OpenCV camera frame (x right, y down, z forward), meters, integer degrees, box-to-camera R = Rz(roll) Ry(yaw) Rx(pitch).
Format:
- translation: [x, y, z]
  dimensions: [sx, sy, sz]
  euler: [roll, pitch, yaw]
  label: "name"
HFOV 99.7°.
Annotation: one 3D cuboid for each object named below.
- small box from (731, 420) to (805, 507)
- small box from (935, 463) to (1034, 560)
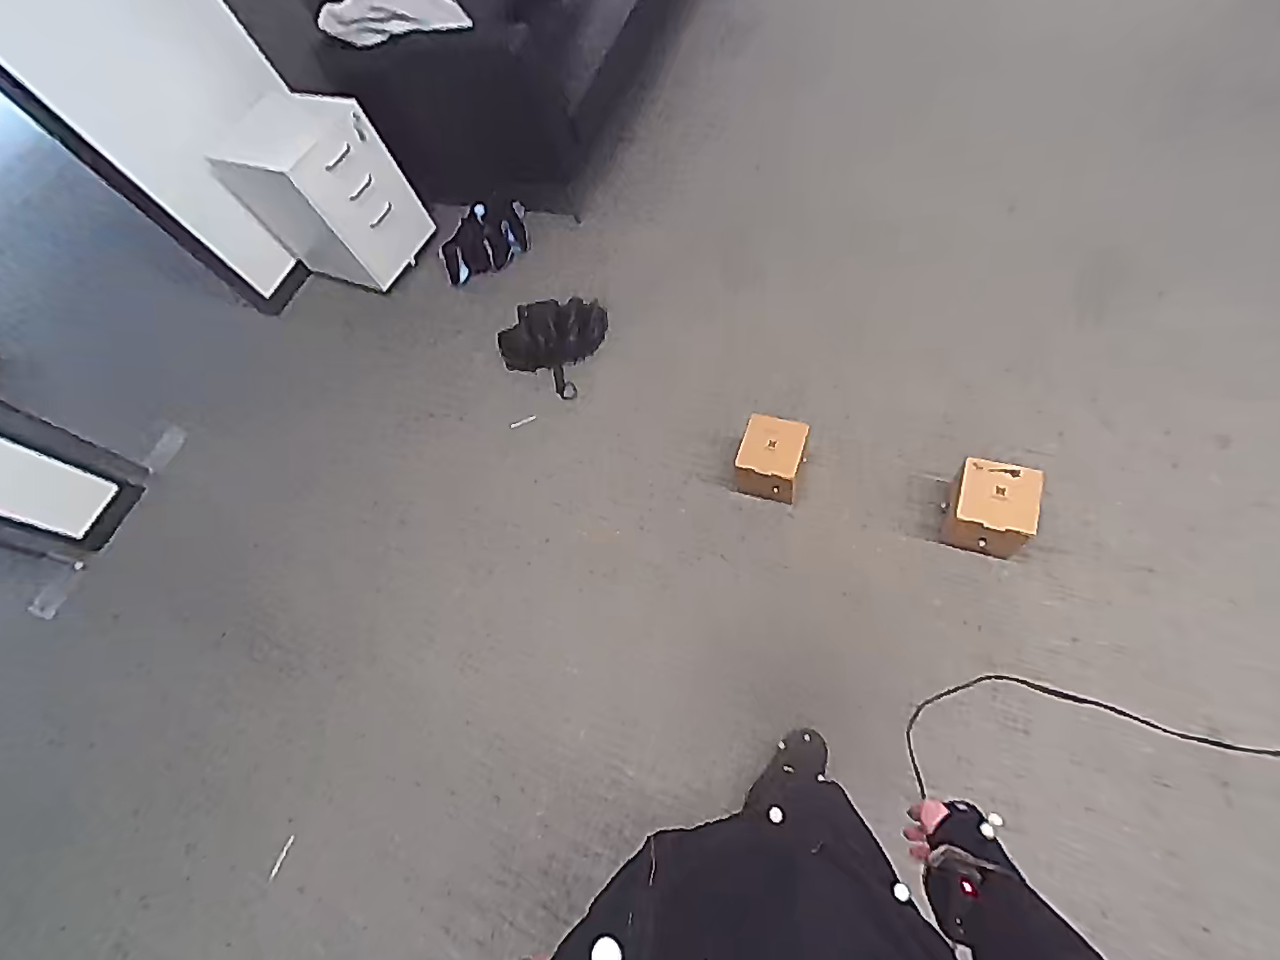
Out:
- translation: [0.373, -0.044, 1.568]
  dimensions: [0.168, 0.176, 0.179]
  euler: [14, 66, 19]
  label: "small box"
- translation: [0.868, 0.085, 1.374]
  dimensions: [0.168, 0.176, 0.179]
  euler: [15, 68, 21]
  label: "small box"
